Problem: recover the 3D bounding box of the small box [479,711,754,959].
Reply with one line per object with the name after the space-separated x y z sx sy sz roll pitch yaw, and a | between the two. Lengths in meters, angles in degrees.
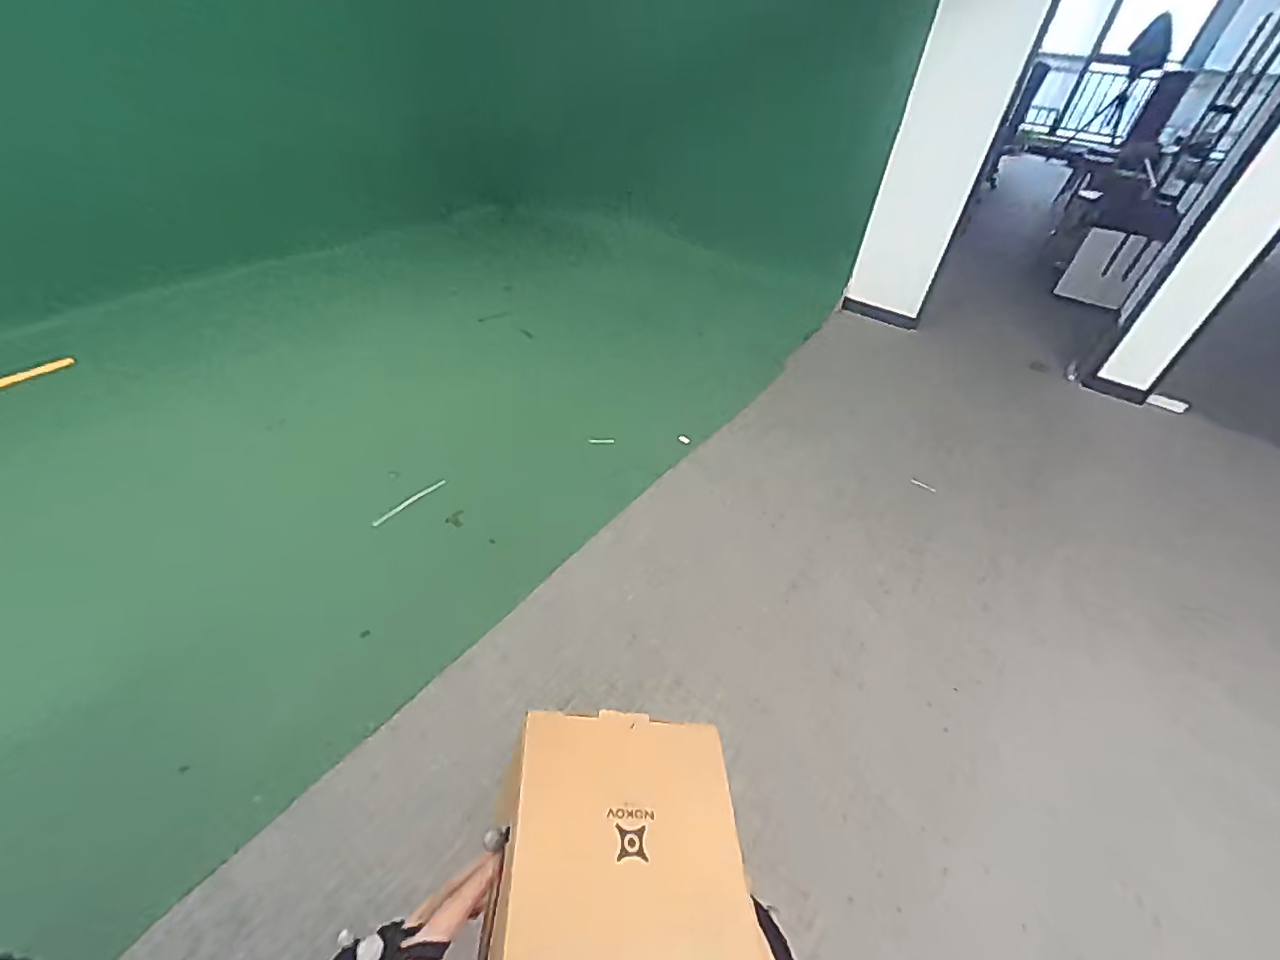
-0.031 0.315 0.433 0.168 0.176 0.179 10 35 -14 | small box
